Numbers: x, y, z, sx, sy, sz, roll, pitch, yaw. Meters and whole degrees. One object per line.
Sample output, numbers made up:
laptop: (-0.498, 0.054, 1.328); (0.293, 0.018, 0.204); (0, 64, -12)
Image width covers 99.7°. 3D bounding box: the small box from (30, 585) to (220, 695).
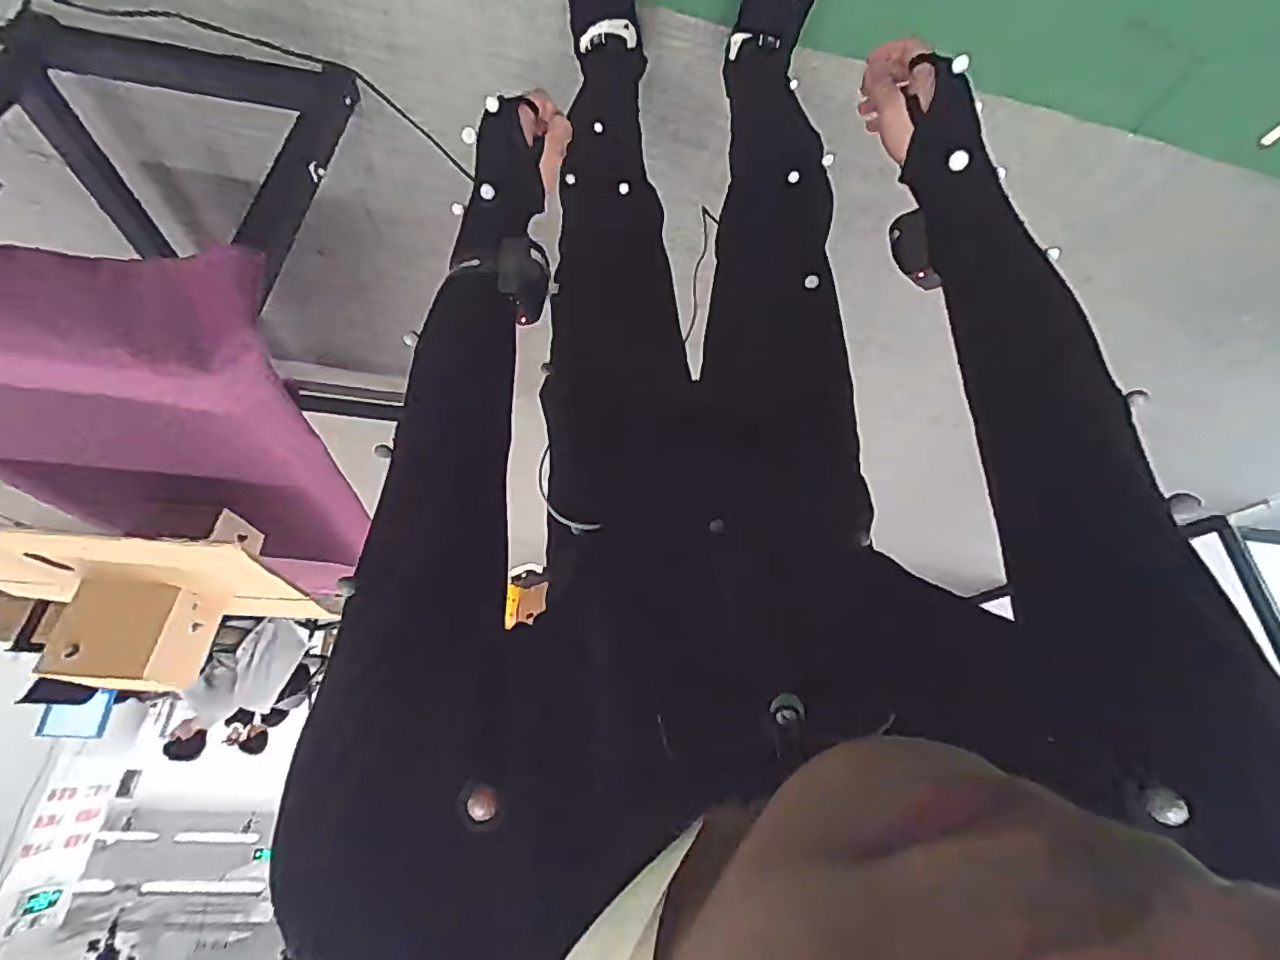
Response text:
small box: (-0.964, 0.306, 1.035); (0.179, 0.176, 0.168); (6, 151, -8)
